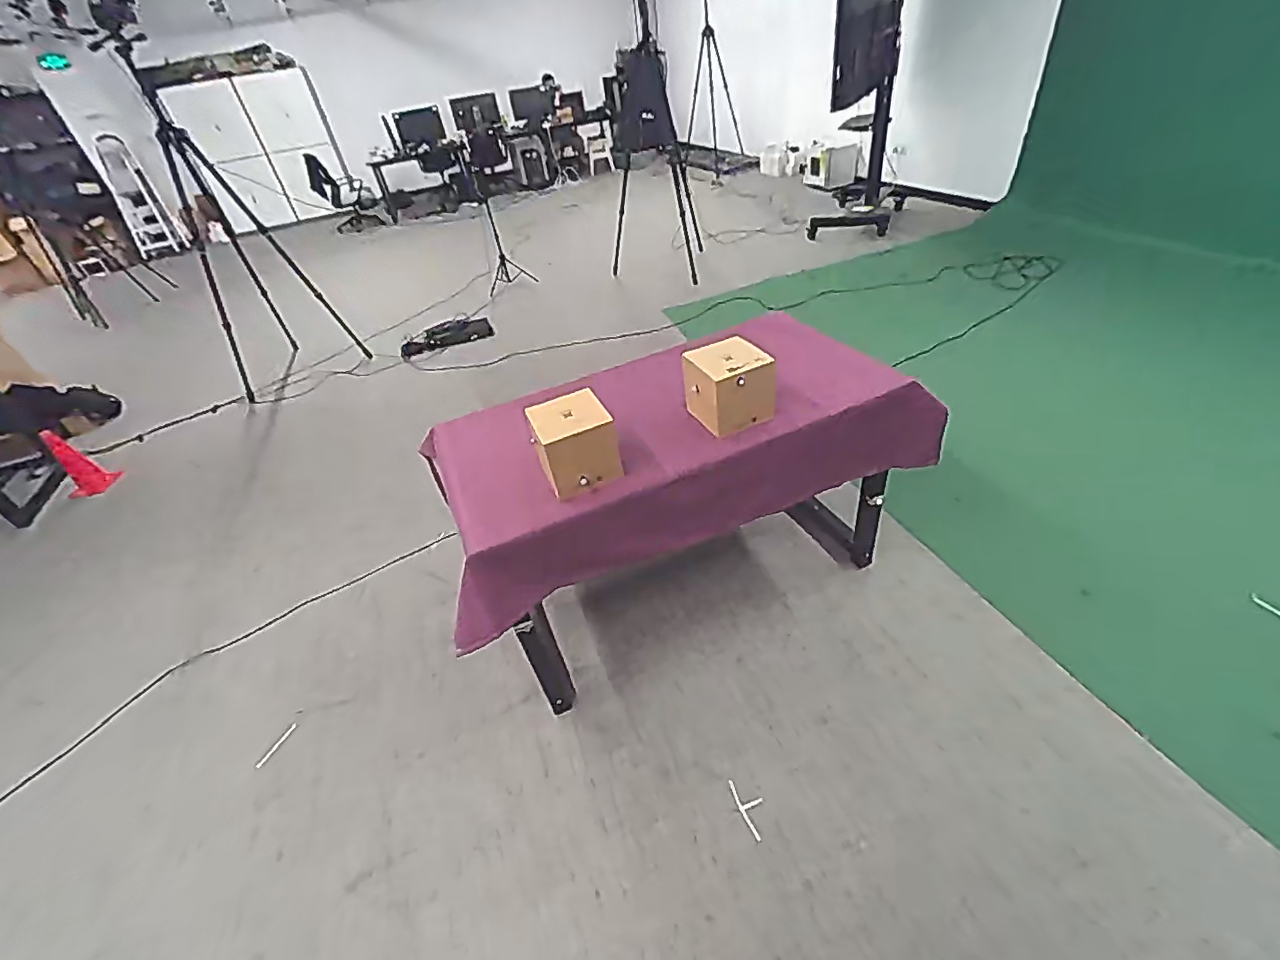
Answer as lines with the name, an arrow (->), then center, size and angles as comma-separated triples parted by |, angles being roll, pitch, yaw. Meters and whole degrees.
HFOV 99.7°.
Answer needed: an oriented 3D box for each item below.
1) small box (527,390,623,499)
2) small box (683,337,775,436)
small box -> -0.152, -0.084, 1.277 | 0.168, 0.176, 0.179 | -21, 41, -12
small box -> 0.226, -0.238, 1.377 | 0.168, 0.176, 0.179 | -22, 40, -12
